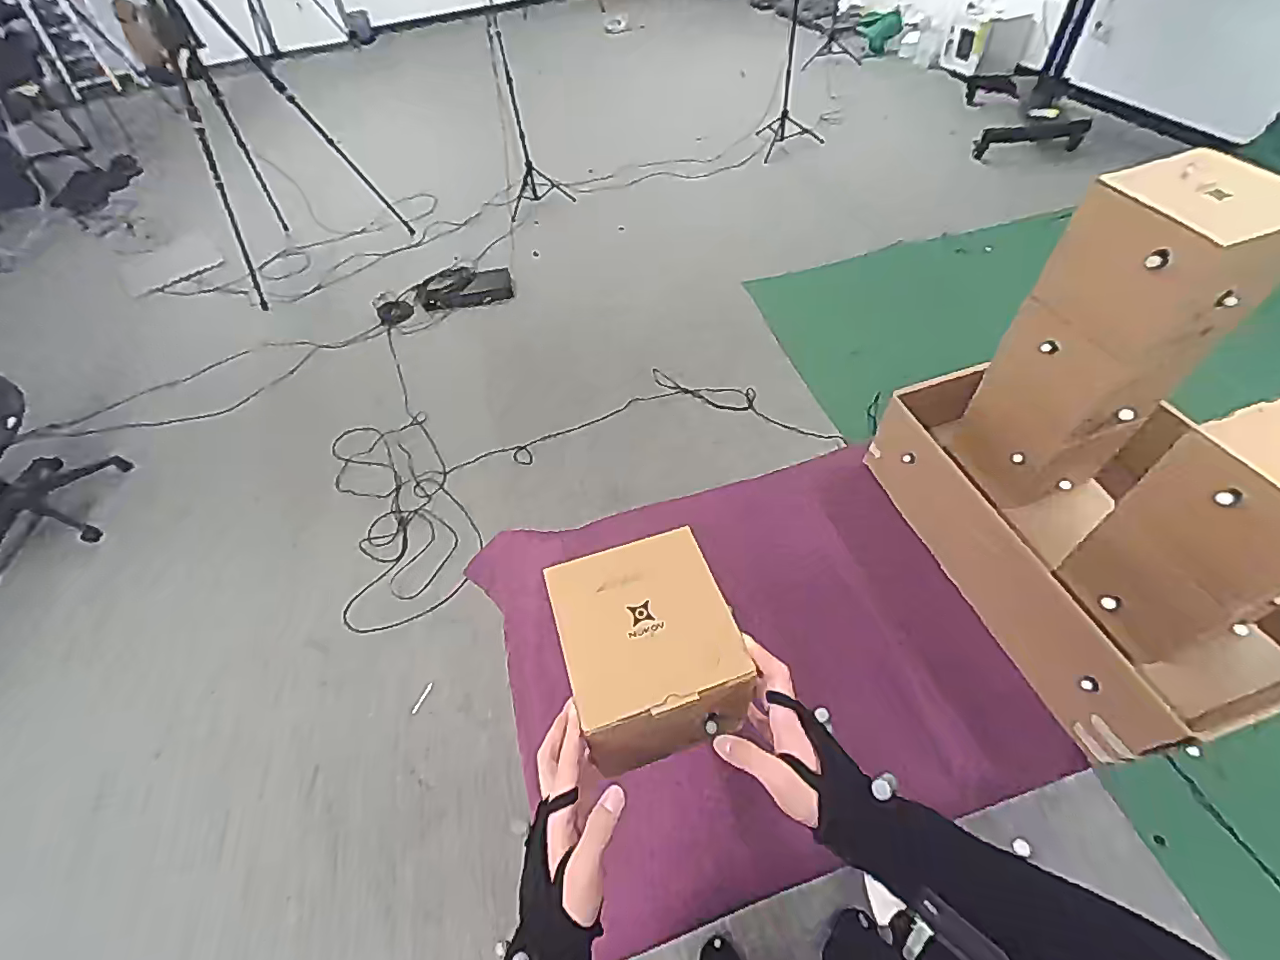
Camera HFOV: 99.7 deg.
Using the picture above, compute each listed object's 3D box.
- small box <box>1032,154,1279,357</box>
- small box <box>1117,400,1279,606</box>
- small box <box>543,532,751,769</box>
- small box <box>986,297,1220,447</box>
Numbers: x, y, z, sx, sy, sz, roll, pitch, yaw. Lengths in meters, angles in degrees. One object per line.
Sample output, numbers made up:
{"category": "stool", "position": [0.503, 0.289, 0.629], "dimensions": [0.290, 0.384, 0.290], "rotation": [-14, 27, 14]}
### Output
{"category": "small box", "position": [0.667, -0.278, 0.693], "dimensions": [0.168, 0.176, 0.179], "rotation": [-17, 53, -6]}
{"category": "small box", "position": [0.754, 0.032, 0.653], "dimensions": [0.168, 0.176, 0.179], "rotation": [-18, 50, -6]}
{"category": "small box", "position": [0.005, 0.190, 0.585], "dimensions": [0.168, 0.176, 0.179], "rotation": [-15, 50, -10]}
{"category": "small box", "position": [0.681, -0.181, 0.826], "dimensions": [0.168, 0.176, 0.179], "rotation": [-18, 54, -6]}
